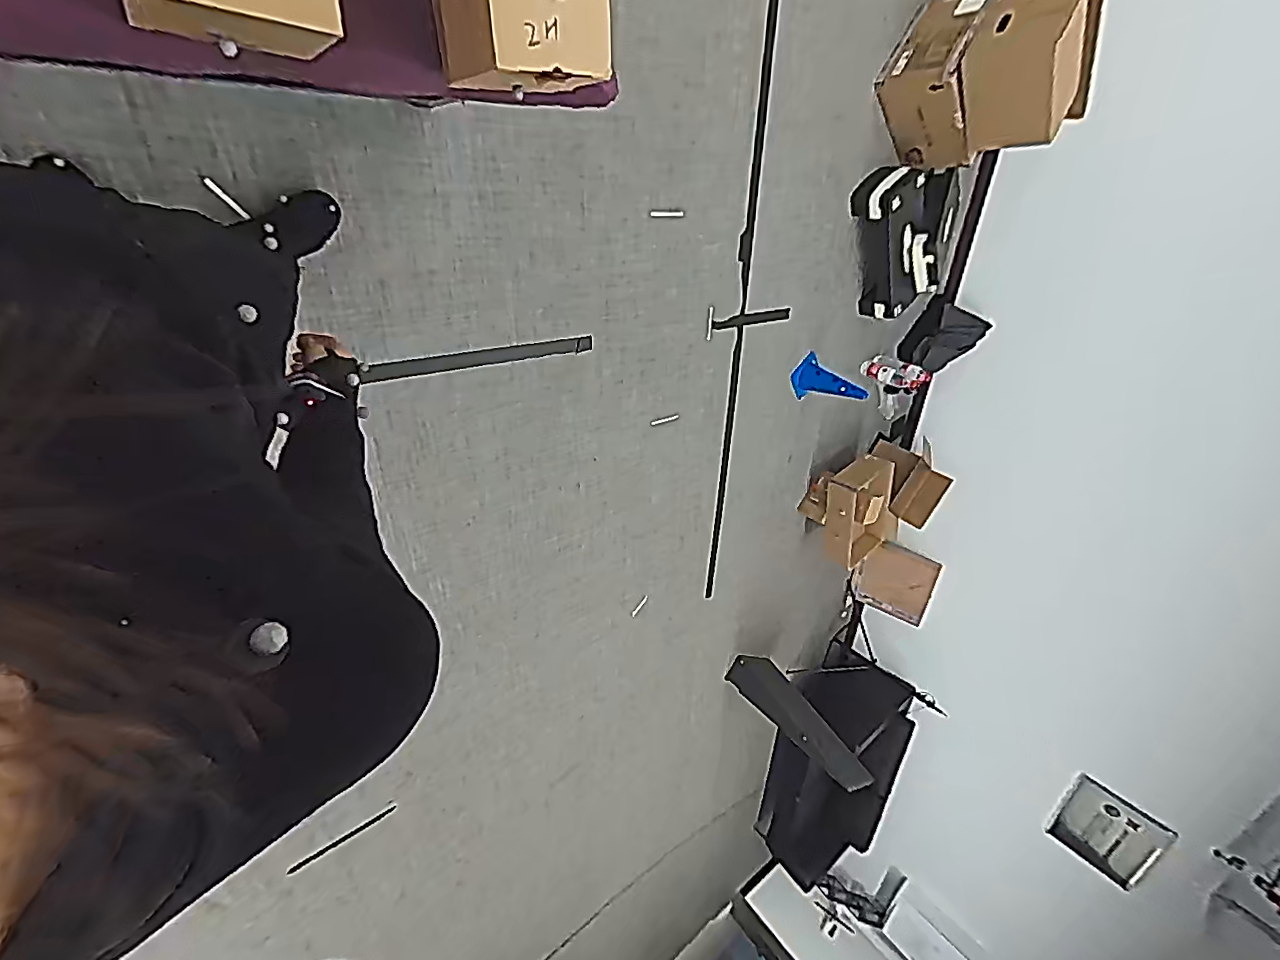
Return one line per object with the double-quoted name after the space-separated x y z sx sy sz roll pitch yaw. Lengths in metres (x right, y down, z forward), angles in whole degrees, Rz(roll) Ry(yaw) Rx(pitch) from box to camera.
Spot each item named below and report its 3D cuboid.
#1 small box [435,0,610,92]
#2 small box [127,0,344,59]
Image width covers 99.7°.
-0.153 -0.609 0.682 0.168 0.176 0.179 -21 126 -31 "small box"
-0.401 -0.529 0.506 0.168 0.176 0.179 -16 124 -35 "small box"
